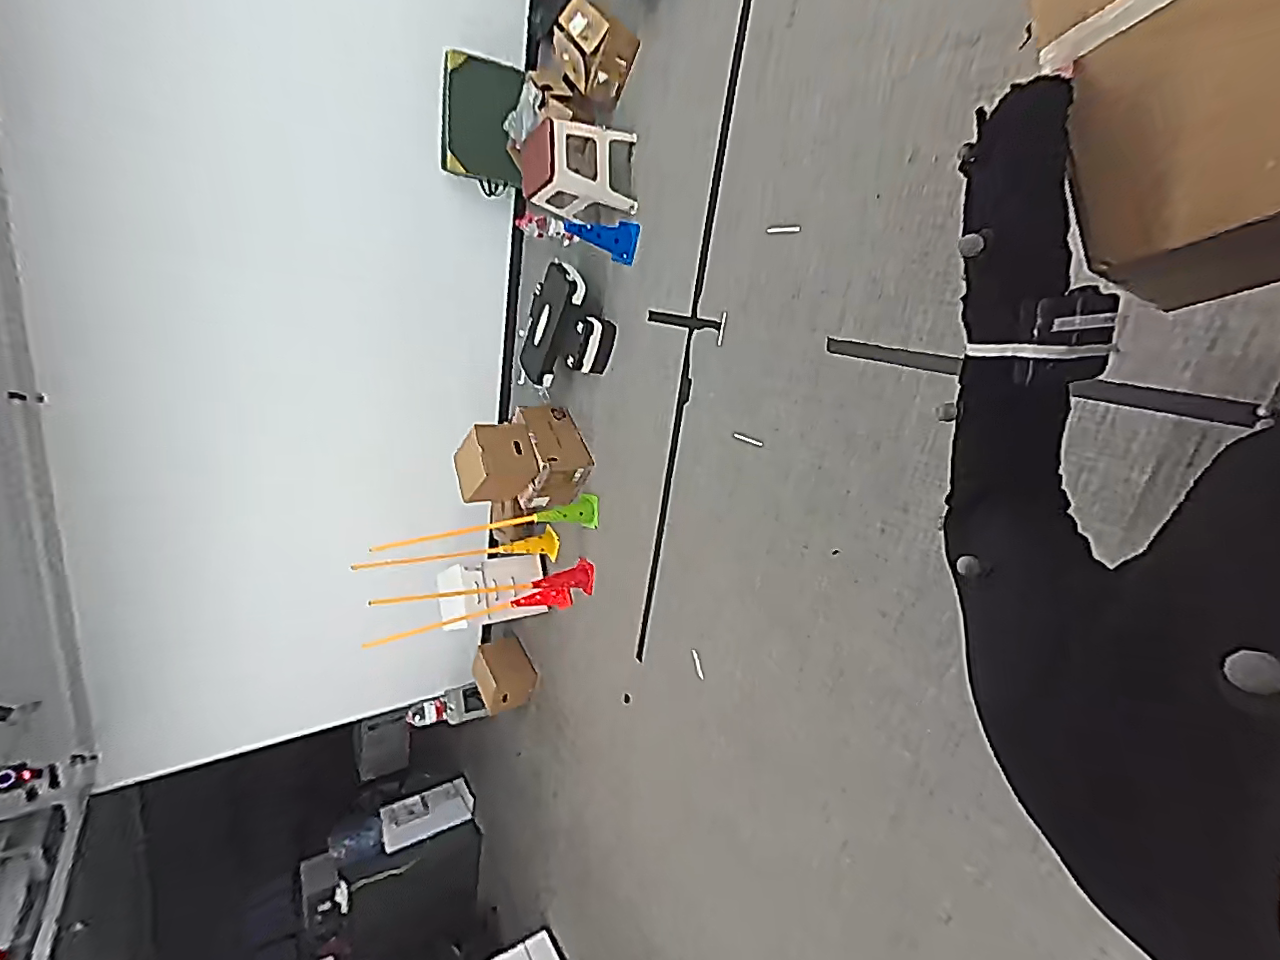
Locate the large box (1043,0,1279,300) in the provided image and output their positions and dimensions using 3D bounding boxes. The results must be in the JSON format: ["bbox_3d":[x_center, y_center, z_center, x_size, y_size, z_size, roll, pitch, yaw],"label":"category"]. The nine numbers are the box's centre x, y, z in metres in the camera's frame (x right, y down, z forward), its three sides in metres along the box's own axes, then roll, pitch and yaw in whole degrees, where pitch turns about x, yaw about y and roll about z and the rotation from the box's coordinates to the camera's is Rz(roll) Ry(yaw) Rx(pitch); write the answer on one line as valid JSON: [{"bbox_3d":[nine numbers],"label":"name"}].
[{"bbox_3d":[0.534,-0.350,0.331,0.408,0.320,0.320,-12,87,50],"label":"large box"}]
